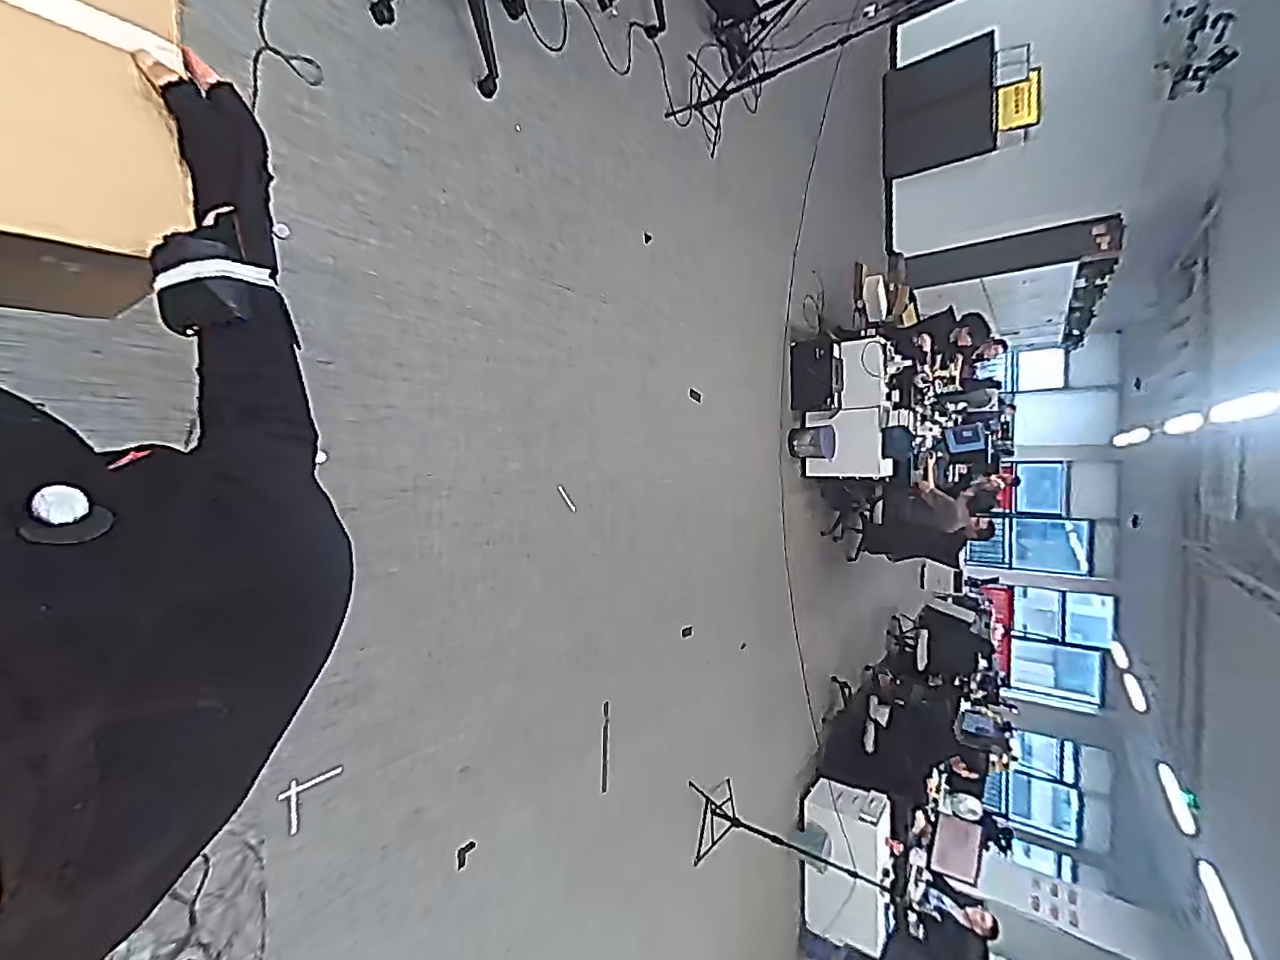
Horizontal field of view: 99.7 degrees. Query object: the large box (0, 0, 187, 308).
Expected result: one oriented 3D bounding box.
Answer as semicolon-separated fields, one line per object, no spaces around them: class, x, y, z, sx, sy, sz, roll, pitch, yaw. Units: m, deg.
large box;-0.615;-0.322;0.360;0.408;0.320;0.320;-8;100;-54
